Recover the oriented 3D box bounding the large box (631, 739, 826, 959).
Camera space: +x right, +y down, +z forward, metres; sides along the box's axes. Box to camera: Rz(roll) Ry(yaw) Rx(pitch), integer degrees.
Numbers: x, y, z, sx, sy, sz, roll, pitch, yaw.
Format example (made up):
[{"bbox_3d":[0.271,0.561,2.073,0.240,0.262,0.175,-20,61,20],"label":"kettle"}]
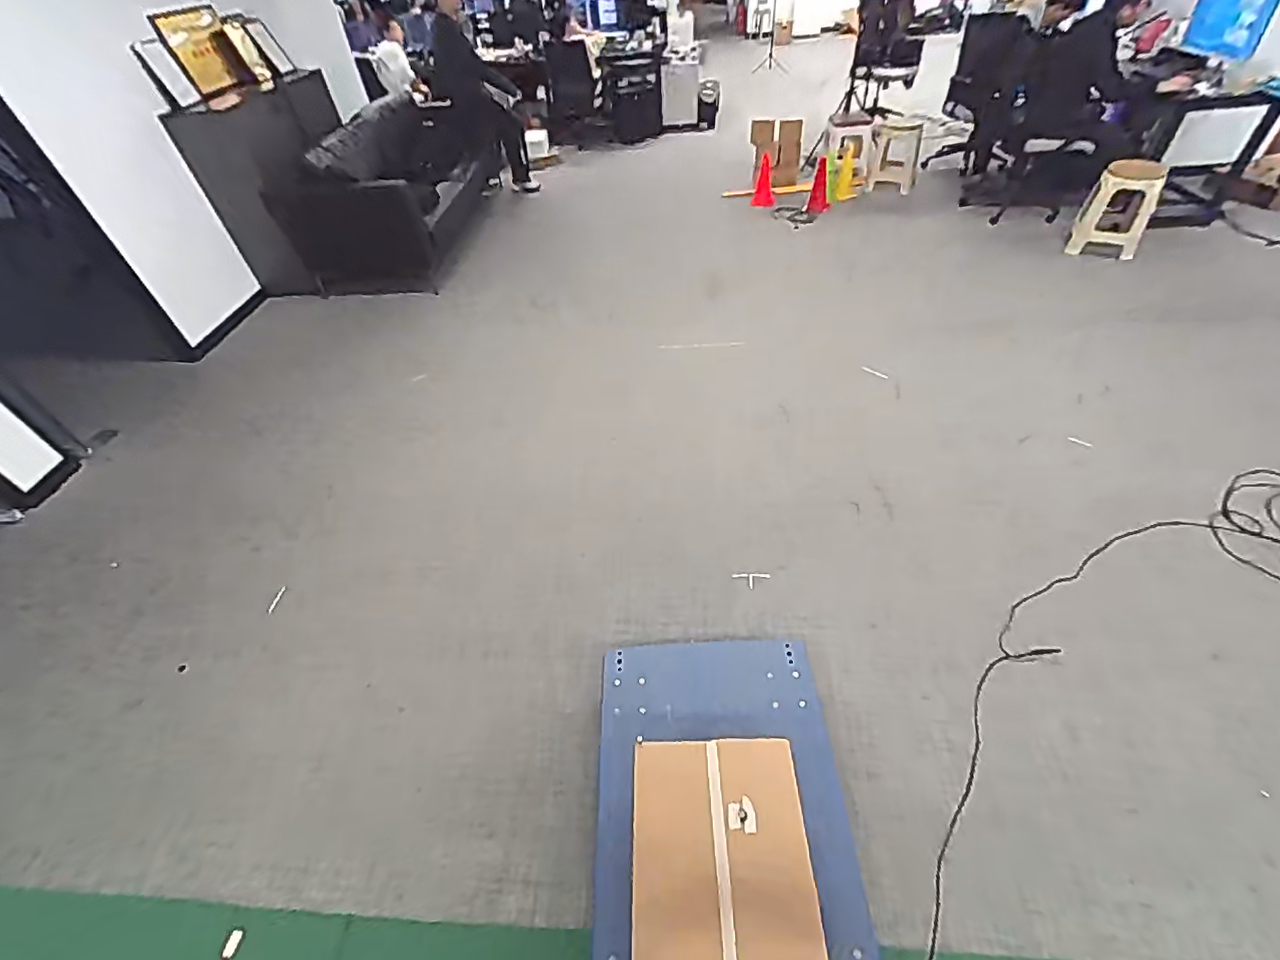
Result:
[{"bbox_3d":[0.153,0.783,1.066,0.320,0.320,0.408,-3,43,3],"label":"large box"}]
